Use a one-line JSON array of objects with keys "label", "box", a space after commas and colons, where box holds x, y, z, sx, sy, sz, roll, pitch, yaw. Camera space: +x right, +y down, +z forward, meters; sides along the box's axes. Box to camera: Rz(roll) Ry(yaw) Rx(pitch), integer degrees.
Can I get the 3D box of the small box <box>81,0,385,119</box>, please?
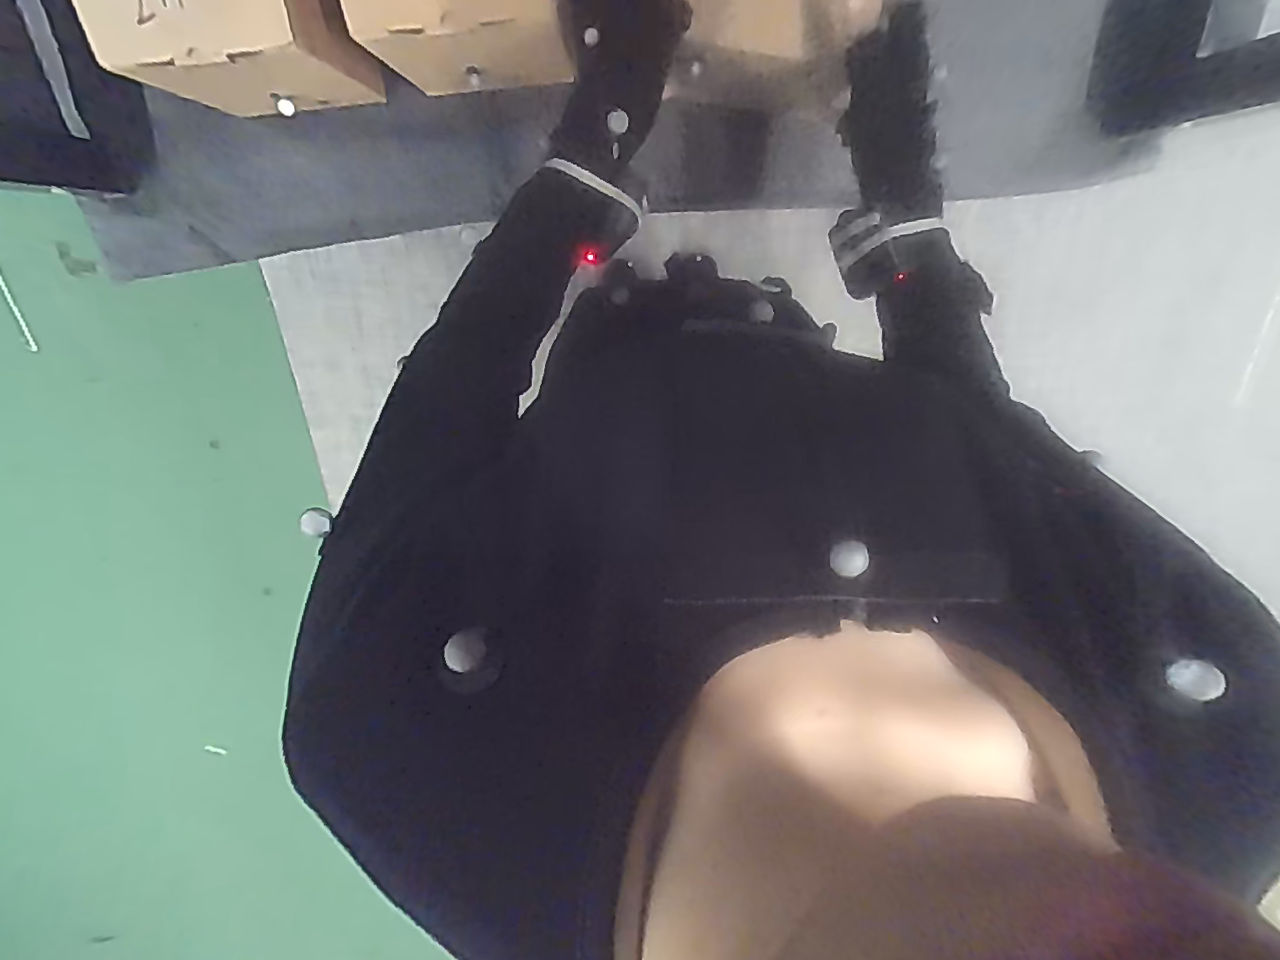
[{"label": "small box", "box": [-0.357, -0.448, 0.479, 0.168, 0.176, 0.179, -4, 112, 2]}]
